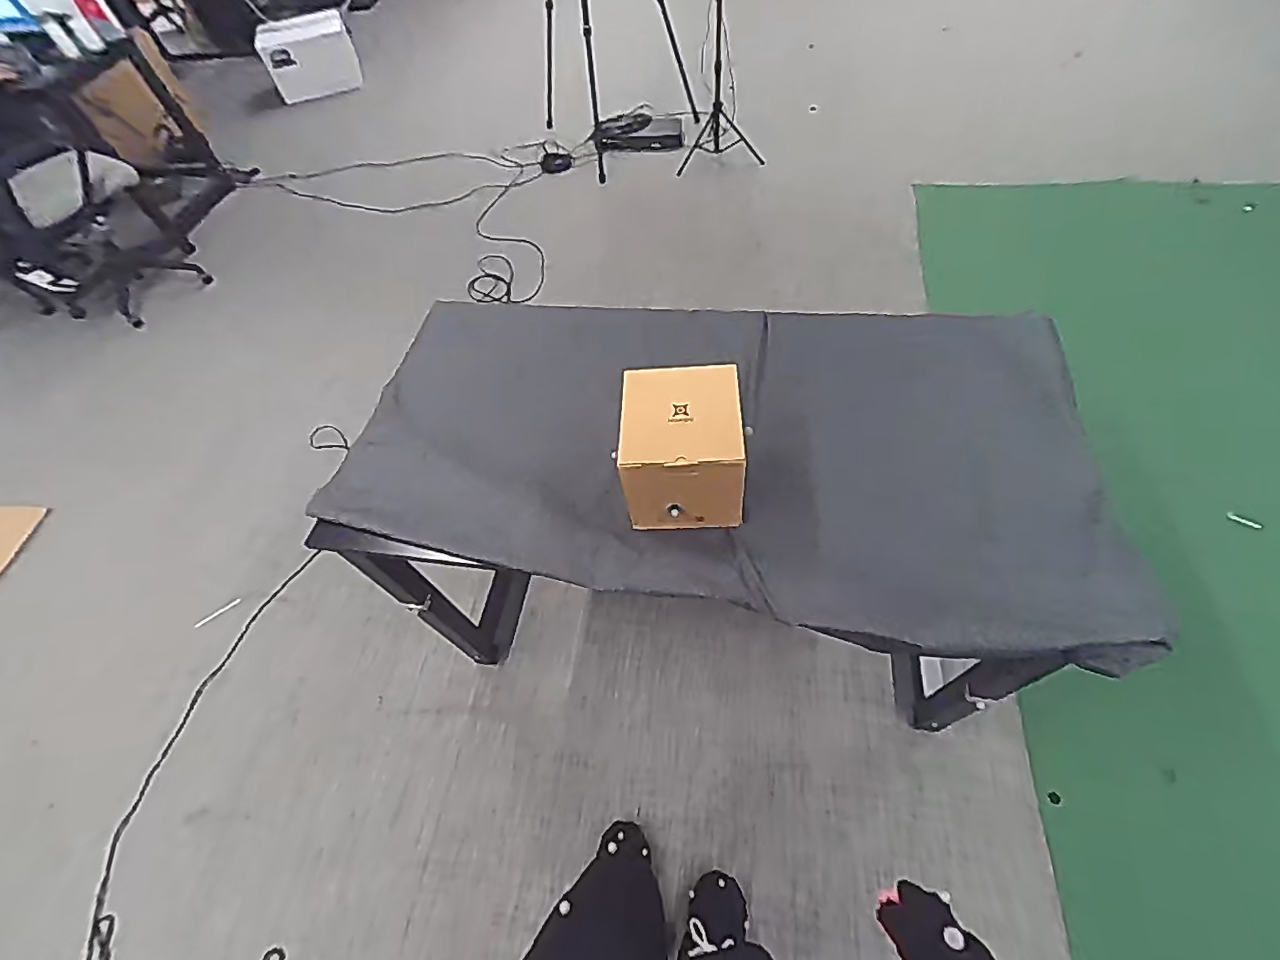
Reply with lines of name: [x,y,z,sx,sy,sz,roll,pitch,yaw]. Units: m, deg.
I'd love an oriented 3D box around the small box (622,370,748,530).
small box: [0.066,-0.042,0.805,0.168,0.176,0.179,-2,56,5]
